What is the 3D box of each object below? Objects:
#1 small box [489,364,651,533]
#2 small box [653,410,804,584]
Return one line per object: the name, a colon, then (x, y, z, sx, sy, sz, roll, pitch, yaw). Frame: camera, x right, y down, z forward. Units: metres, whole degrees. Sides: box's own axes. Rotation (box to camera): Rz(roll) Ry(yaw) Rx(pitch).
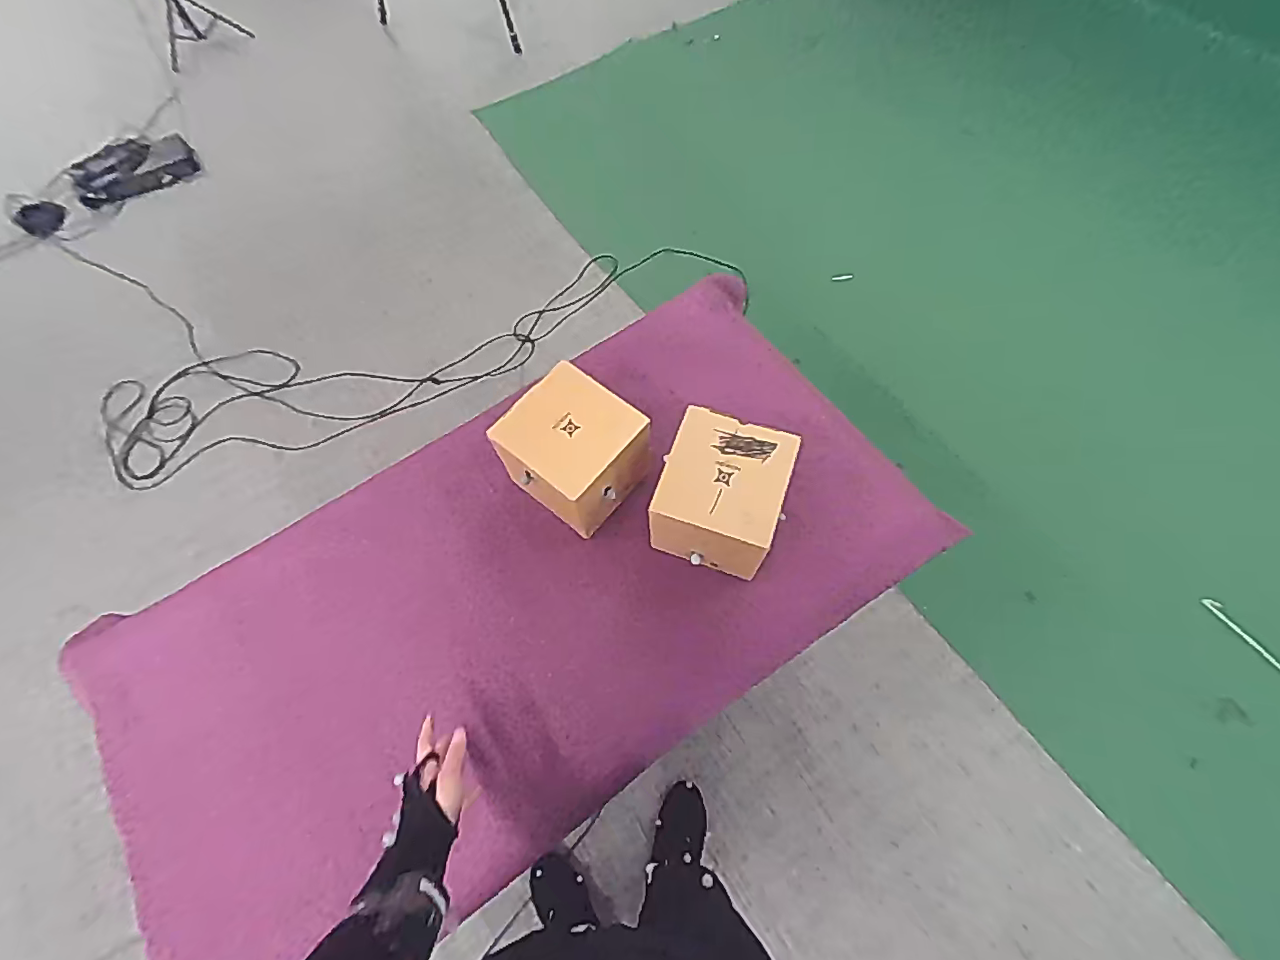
small box: (-0.096, -0.037, 0.838, 0.179, 0.176, 0.168, 37, 72, 17)
small box: (0.123, 0.031, 0.795, 0.168, 0.176, 0.179, 18, 68, 11)
